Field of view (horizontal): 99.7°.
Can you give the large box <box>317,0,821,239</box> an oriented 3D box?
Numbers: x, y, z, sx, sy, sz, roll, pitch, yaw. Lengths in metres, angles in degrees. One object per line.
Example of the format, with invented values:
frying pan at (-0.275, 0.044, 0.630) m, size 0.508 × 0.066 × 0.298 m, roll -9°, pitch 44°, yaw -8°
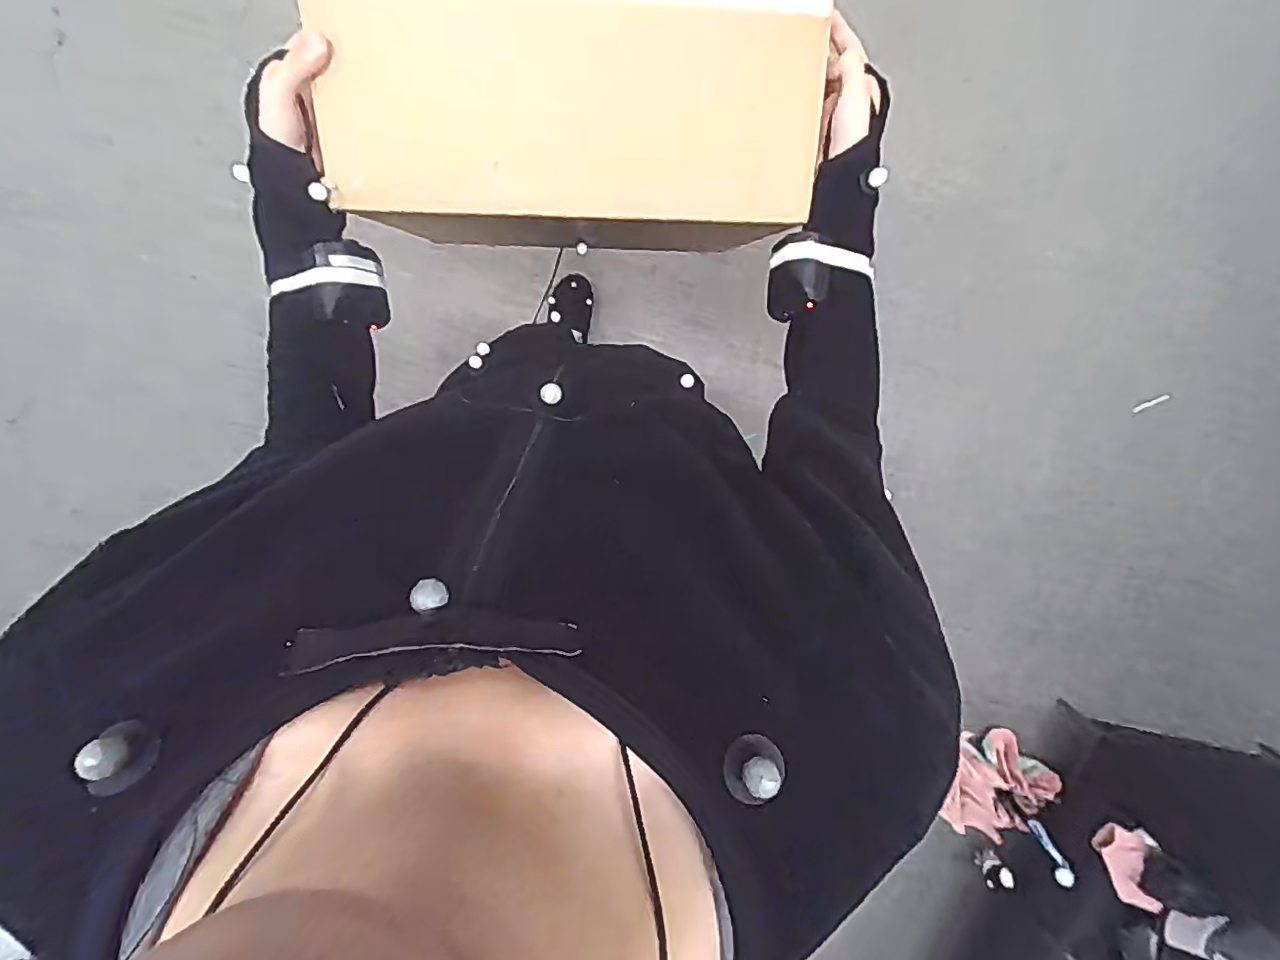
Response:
large box at (-0.060, -0.429, 0.564) m, size 0.408 × 0.320 × 0.320 m, roll -1°, pitch 108°, yaw -5°
